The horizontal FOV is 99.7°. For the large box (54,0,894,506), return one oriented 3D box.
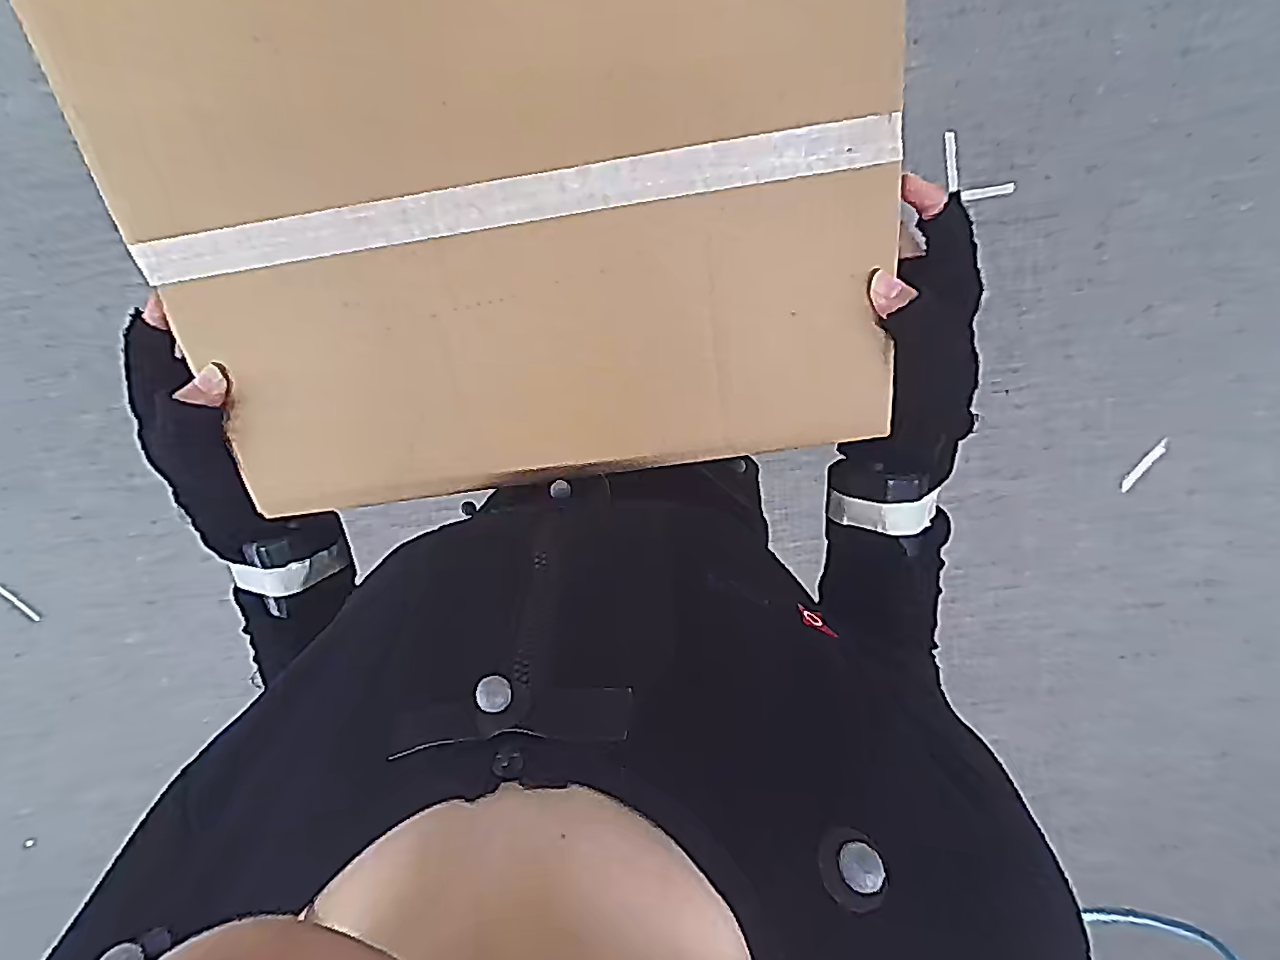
[{"bbox_3d":[-0.068,-0.205,0.429,0.408,0.320,0.320,-8,114,3],"label":"large box"}]
